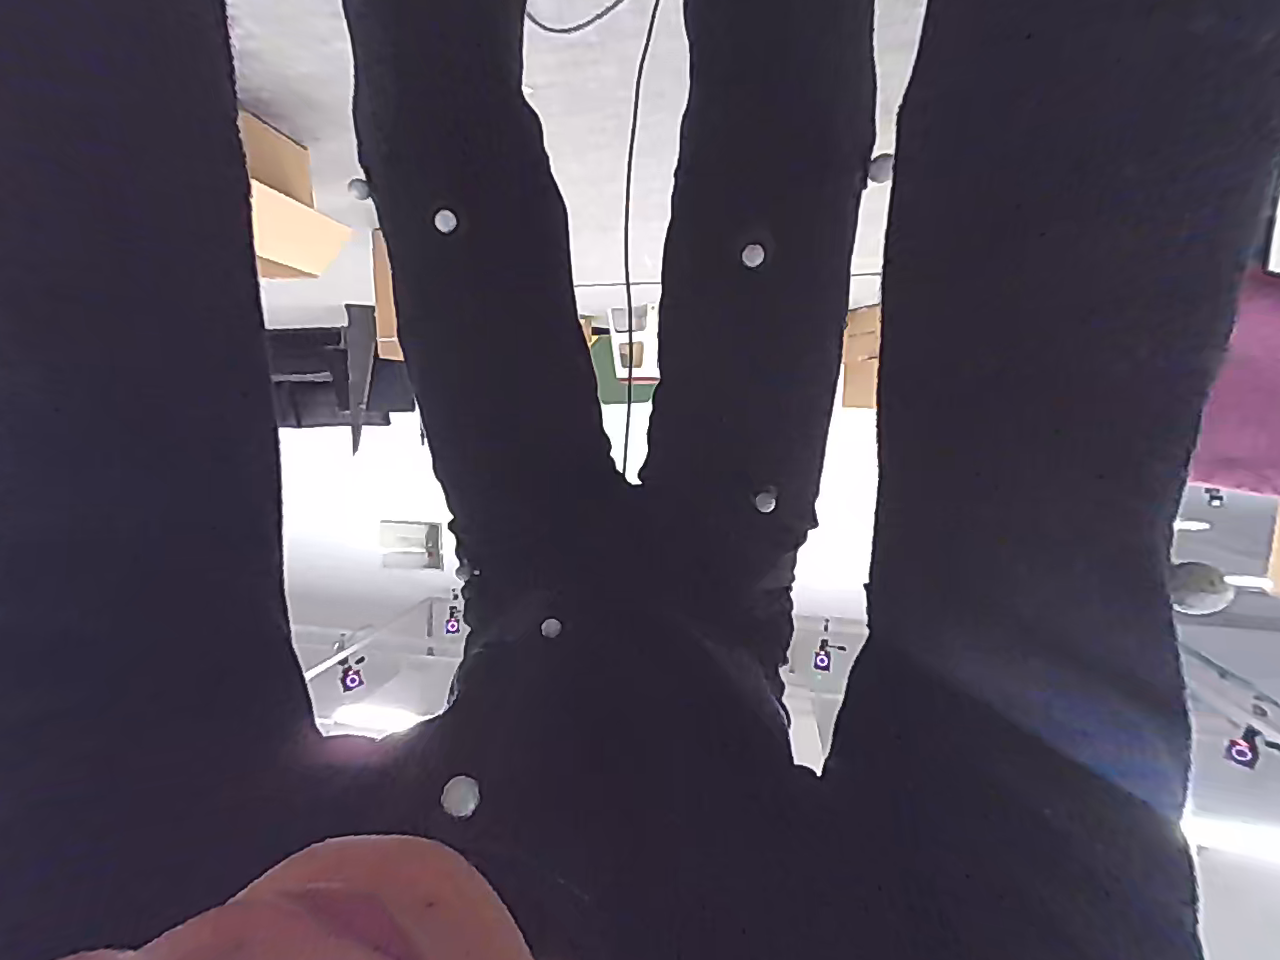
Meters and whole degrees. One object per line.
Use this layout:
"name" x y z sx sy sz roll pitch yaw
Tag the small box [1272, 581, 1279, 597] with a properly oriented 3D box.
"small box" 0.971 0.092 0.669 0.179 0.176 0.168 1 -172 10
